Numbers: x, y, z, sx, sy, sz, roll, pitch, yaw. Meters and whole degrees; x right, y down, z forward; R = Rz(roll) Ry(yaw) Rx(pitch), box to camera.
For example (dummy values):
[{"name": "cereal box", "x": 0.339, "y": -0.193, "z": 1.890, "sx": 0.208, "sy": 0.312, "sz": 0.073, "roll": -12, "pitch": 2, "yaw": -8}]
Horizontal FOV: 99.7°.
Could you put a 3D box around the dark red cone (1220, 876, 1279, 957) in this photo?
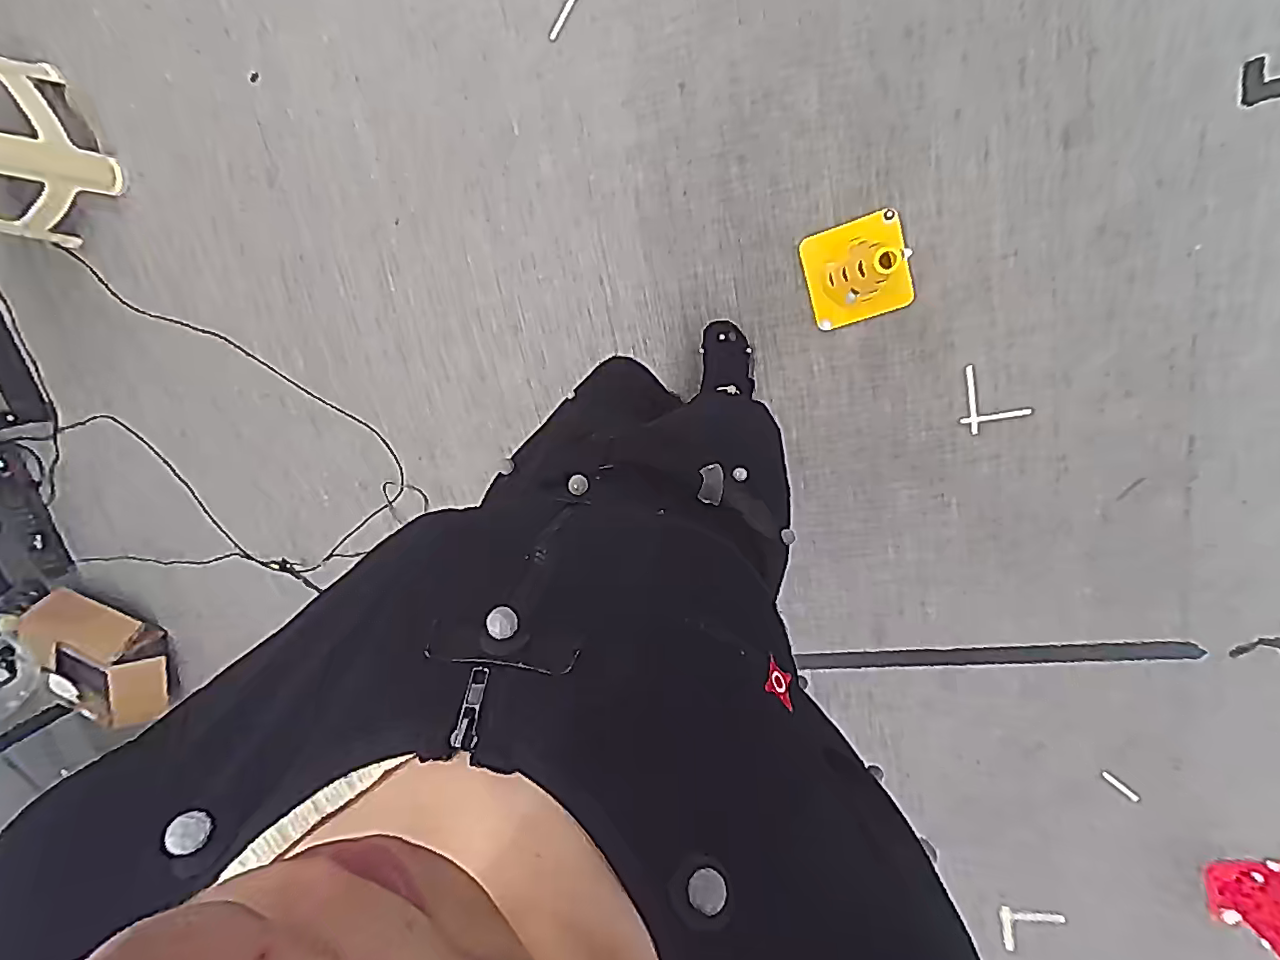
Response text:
[{"name": "dark red cone", "x": 1.493, "y": 1.080, "z": 1.152, "sx": 0.202, "sy": 0.394, "sz": 0.201, "roll": -16, "pitch": 102, "yaw": 18}]
